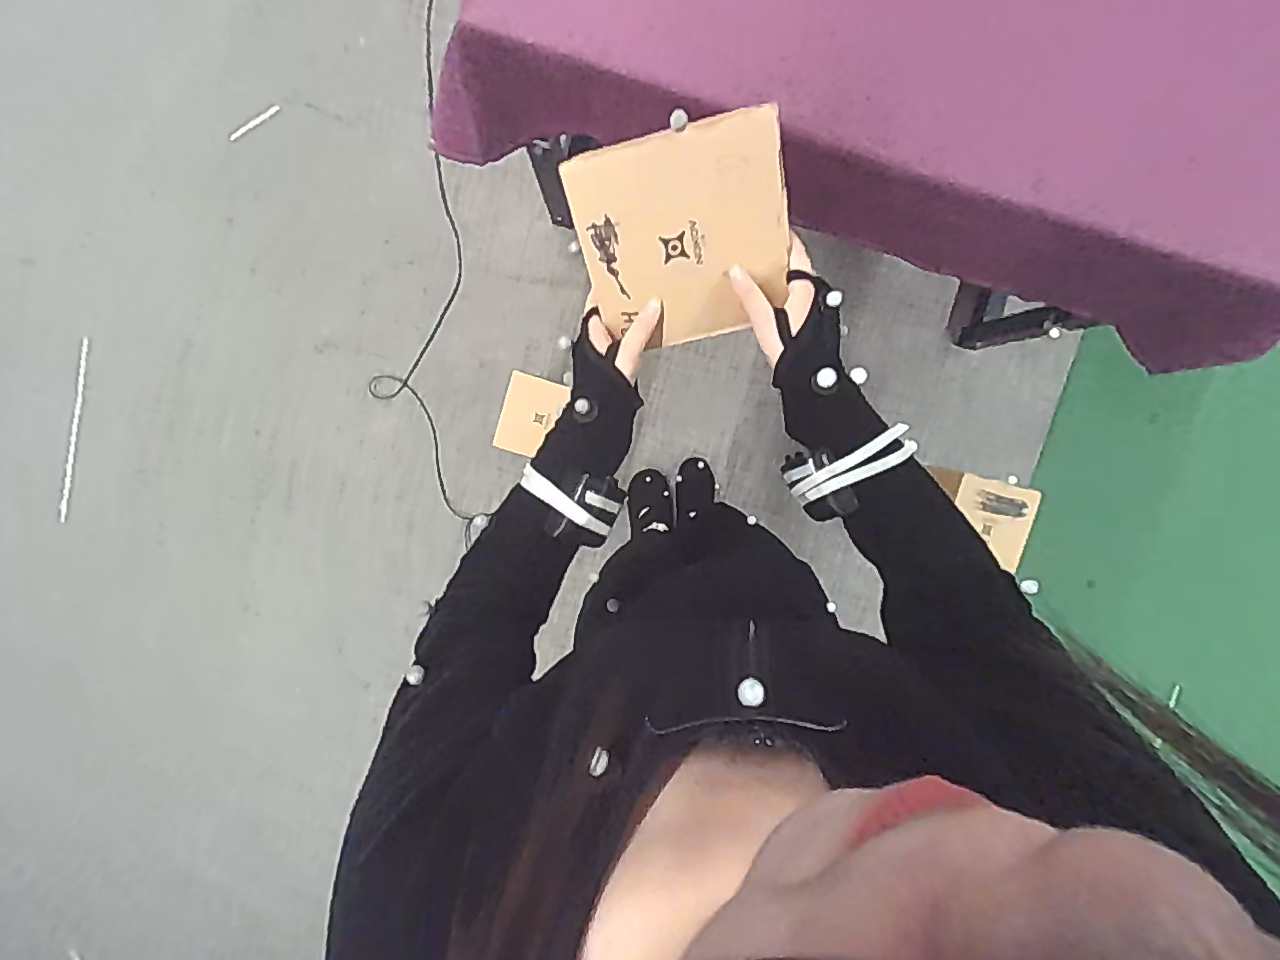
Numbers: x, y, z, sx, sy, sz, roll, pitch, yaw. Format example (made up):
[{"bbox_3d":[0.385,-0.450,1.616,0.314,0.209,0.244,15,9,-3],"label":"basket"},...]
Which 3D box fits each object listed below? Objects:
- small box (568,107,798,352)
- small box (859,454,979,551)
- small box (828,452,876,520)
[{"bbox_3d":[0.043,-0.247,0.527,0.179,0.176,0.168,-11,123,8],"label":"small box"},{"bbox_3d":[0.640,0.046,1.266,0.168,0.176,0.179,15,96,-6],"label":"small box"},{"bbox_3d":[0.623,0.025,1.427,0.179,0.176,0.168,13,96,-5],"label":"small box"}]
